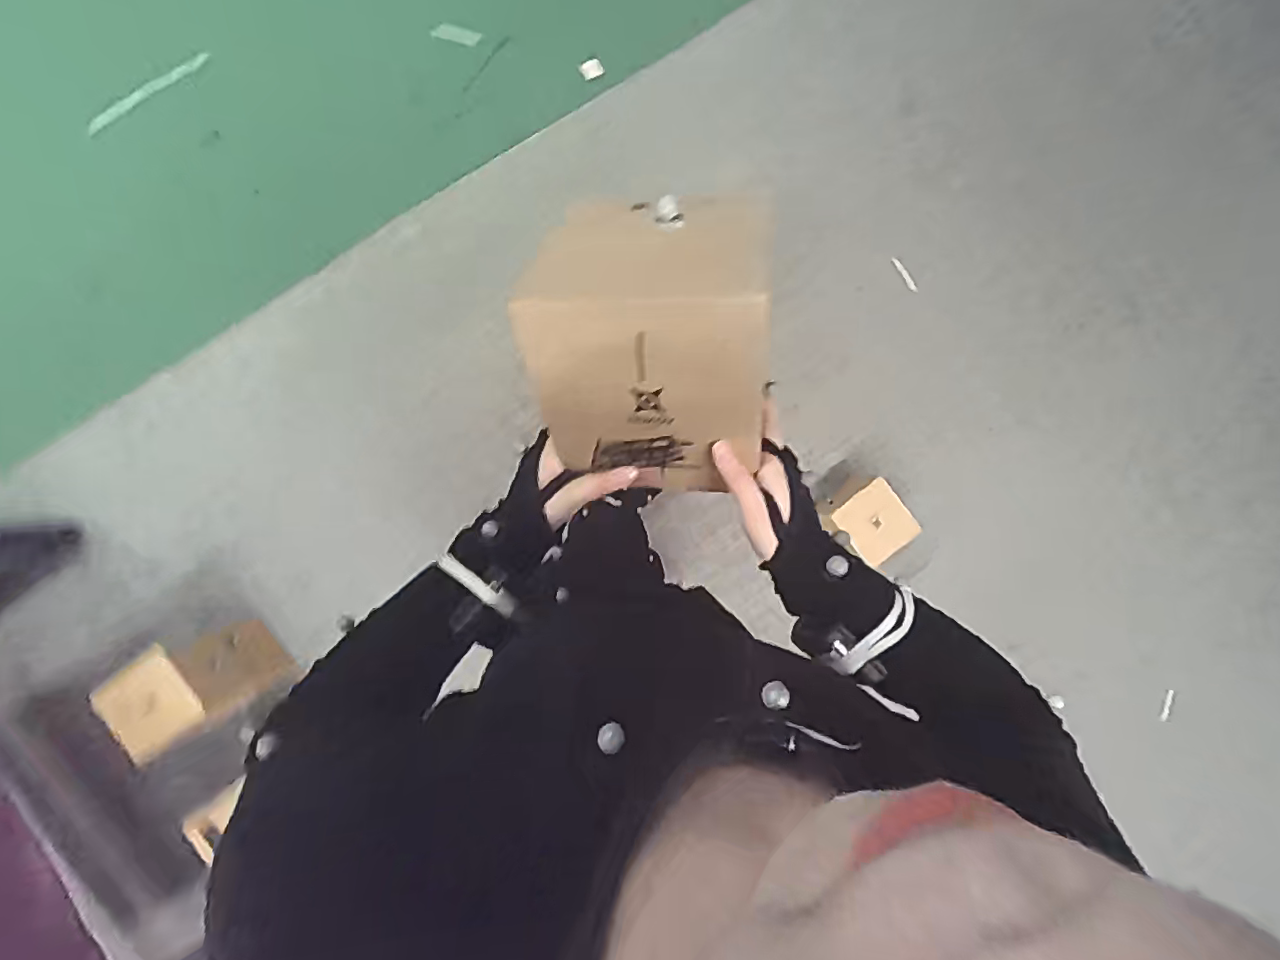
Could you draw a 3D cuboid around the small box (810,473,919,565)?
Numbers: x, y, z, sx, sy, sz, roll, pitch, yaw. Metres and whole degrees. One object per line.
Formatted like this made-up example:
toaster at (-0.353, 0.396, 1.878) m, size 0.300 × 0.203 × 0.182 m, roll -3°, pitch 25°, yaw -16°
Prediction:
small box at (0.576, 0.099, 1.417) m, size 0.168 × 0.176 × 0.179 m, roll -36°, pitch 91°, yaw -1°
